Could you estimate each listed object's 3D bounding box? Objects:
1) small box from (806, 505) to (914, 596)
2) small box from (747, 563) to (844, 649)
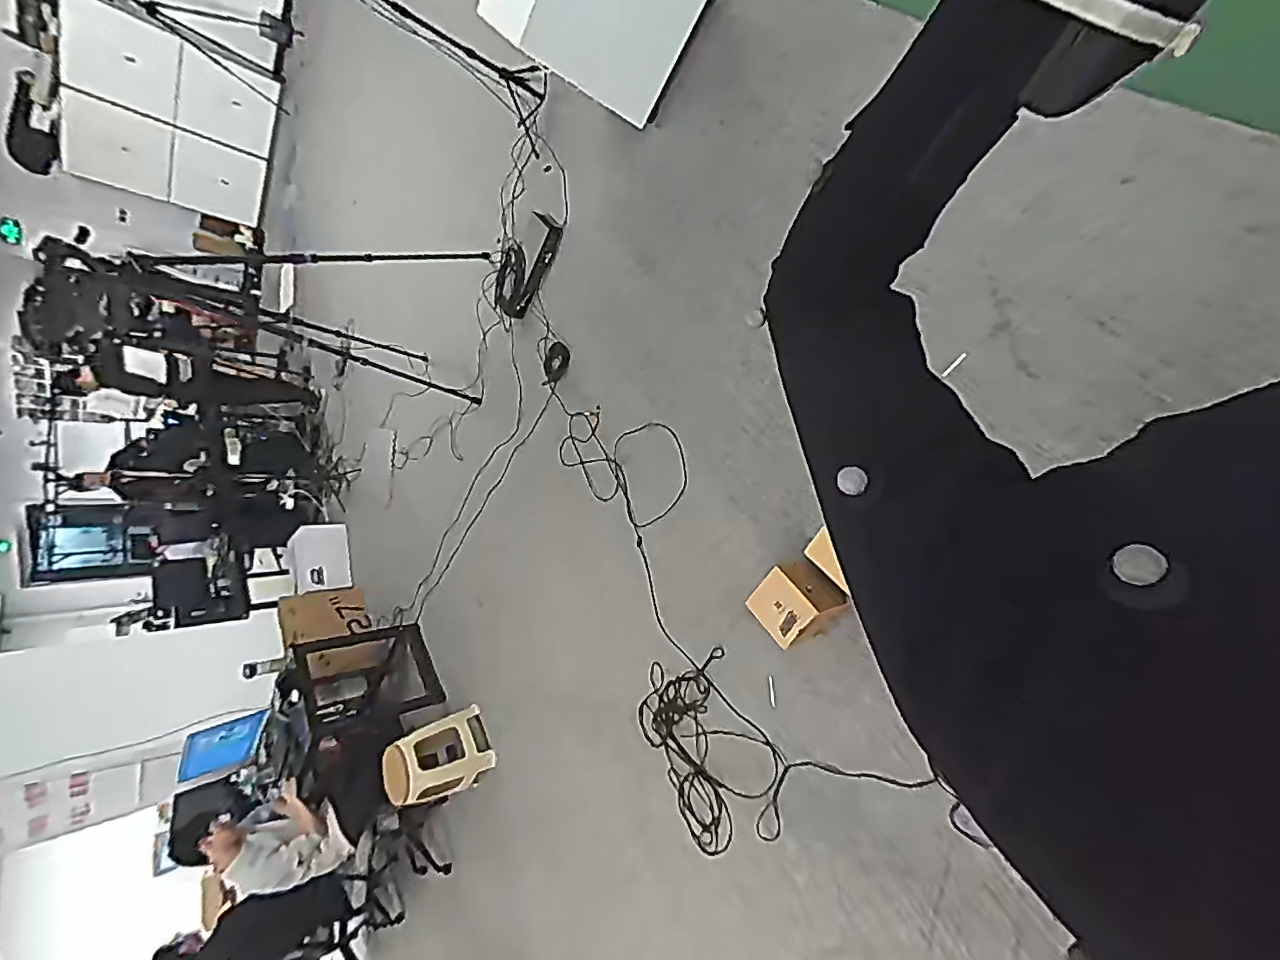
[{"bbox_3d":[0.588,0.183,1.443,0.179,0.176,0.168,46,121,33],"label":"small box"},{"bbox_3d":[0.455,0.358,1.572,0.179,0.176,0.168,50,123,33],"label":"small box"}]
